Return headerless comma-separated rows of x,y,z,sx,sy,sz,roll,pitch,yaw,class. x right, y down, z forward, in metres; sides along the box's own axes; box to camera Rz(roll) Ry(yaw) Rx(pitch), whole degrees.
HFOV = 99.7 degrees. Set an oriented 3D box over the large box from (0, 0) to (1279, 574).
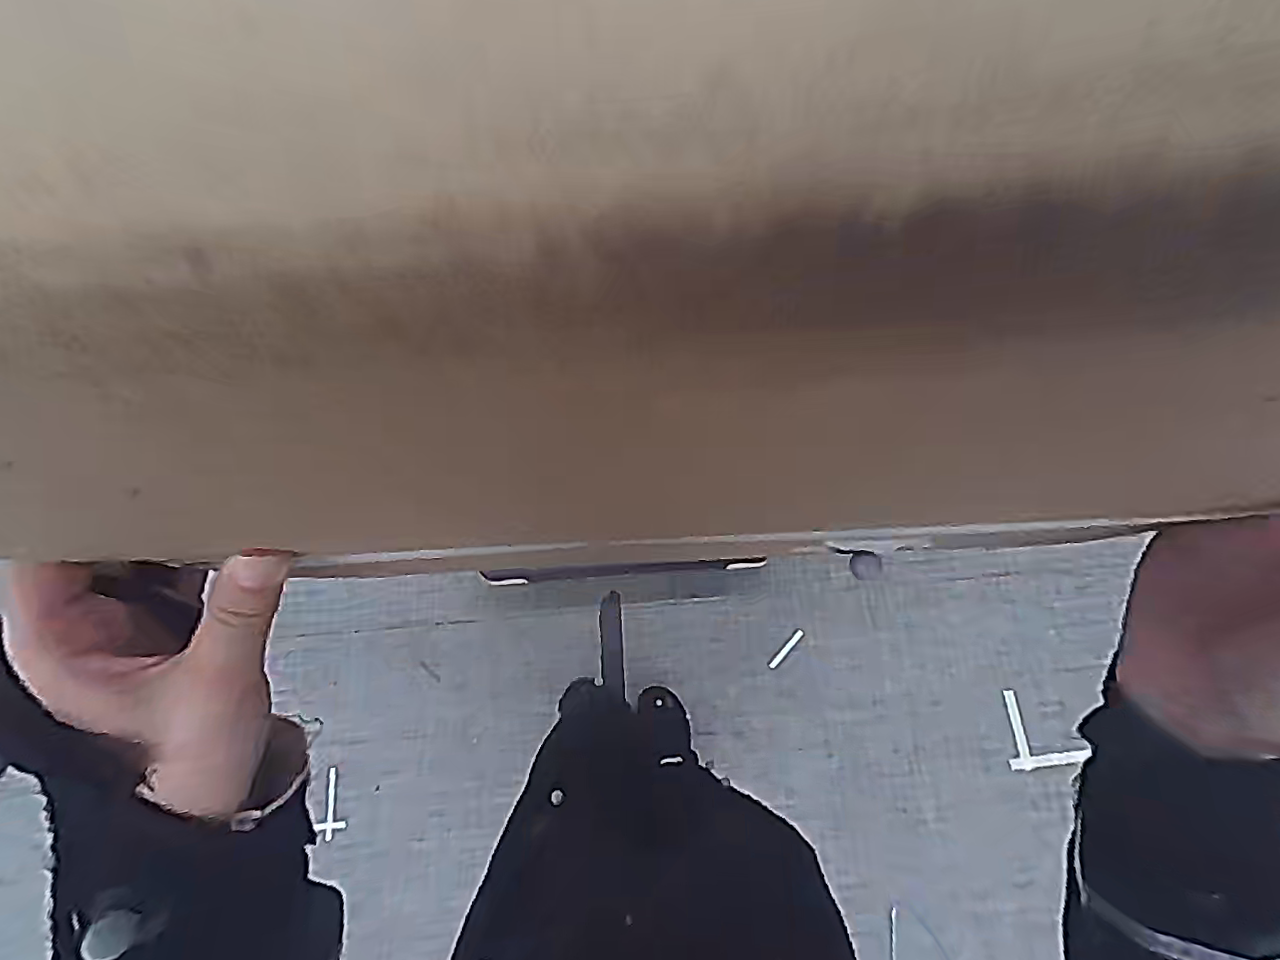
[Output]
-0.001,-0.139,0.213,0.408,0.320,0.320,-5,79,3,large box
